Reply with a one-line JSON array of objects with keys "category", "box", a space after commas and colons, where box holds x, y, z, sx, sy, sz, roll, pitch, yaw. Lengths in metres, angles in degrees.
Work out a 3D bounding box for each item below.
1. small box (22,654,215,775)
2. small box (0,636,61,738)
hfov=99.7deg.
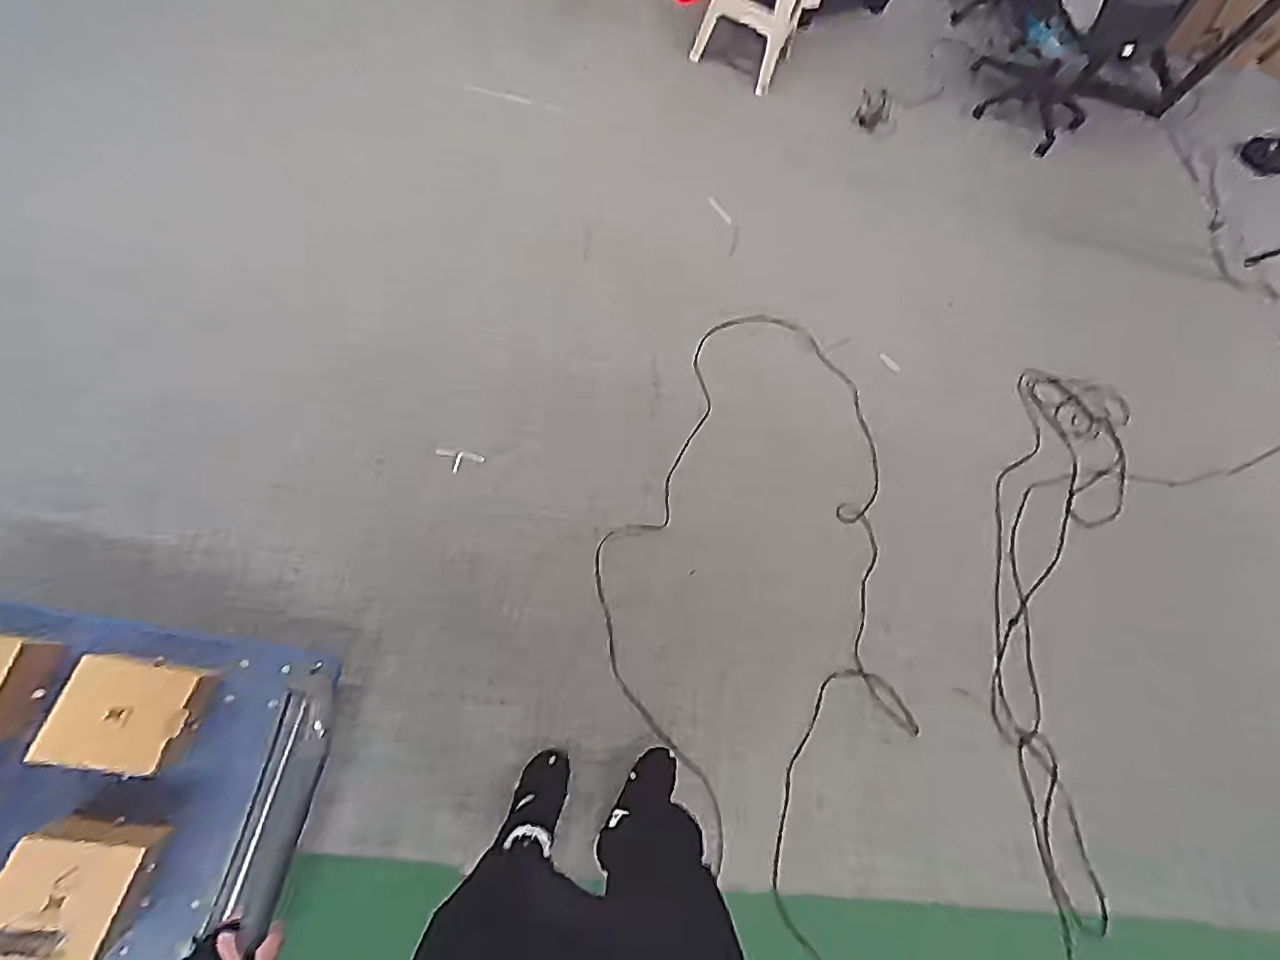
[{"category": "small box", "box": [-0.926, 0.423, 0.985, 0.179, 0.176, 0.168, 21, 64, -21]}, {"category": "small box", "box": [-1.145, 0.342, 0.897, 0.179, 0.176, 0.168, 17, 66, -22]}]
